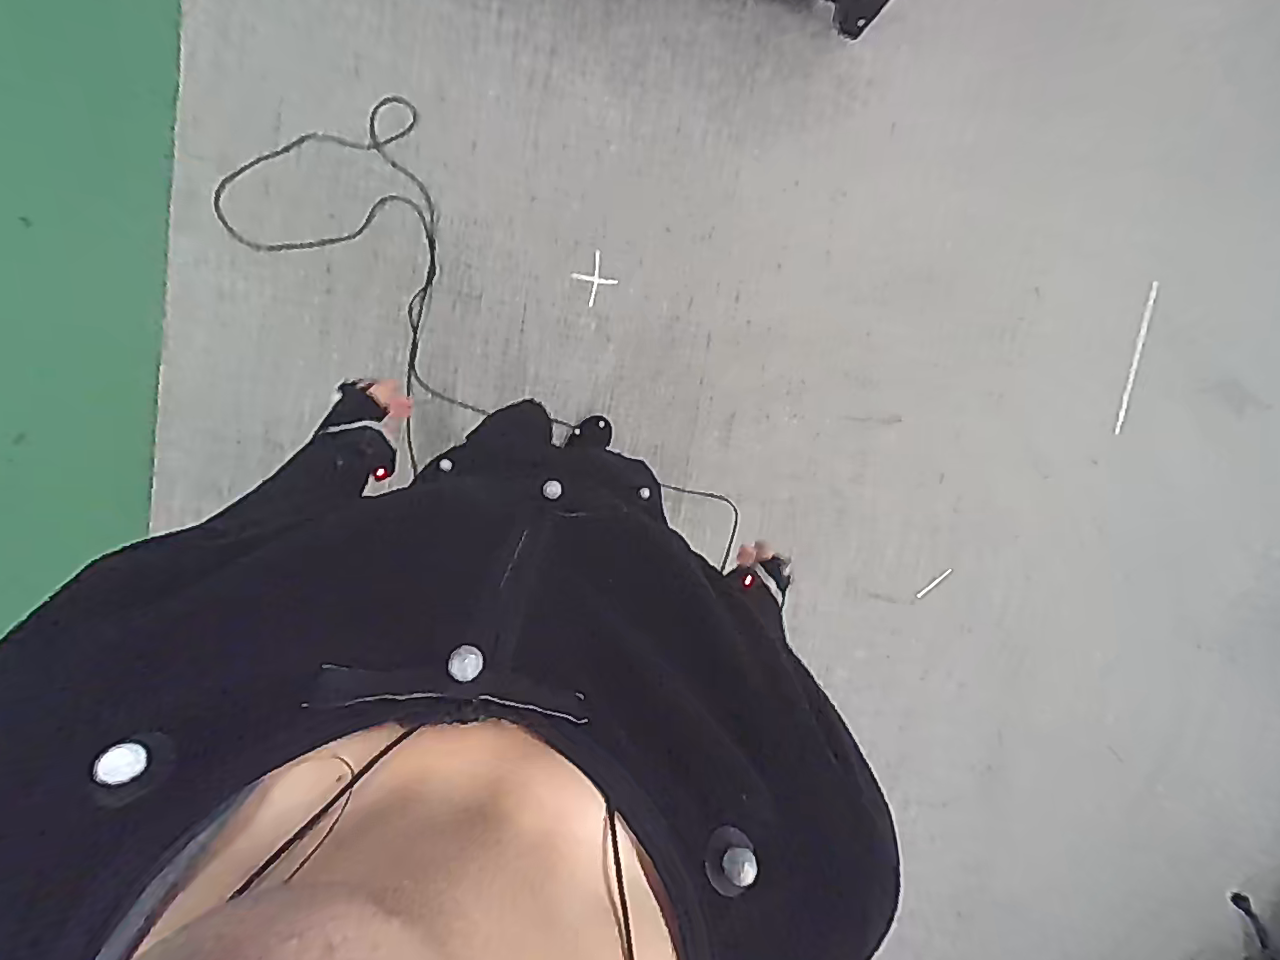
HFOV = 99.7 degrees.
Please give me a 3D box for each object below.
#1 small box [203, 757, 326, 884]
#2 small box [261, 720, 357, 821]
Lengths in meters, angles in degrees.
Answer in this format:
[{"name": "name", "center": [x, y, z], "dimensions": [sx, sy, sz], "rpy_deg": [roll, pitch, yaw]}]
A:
[{"name": "small box", "center": [-0.806, 0.730, 1.175], "dimensions": [0.168, 0.176, 0.179], "rpy_deg": [5, 96, -10]}, {"name": "small box", "center": [-0.820, 0.714, 1.340], "dimensions": [0.179, 0.176, 0.168], "rpy_deg": [5, 95, -11]}]
